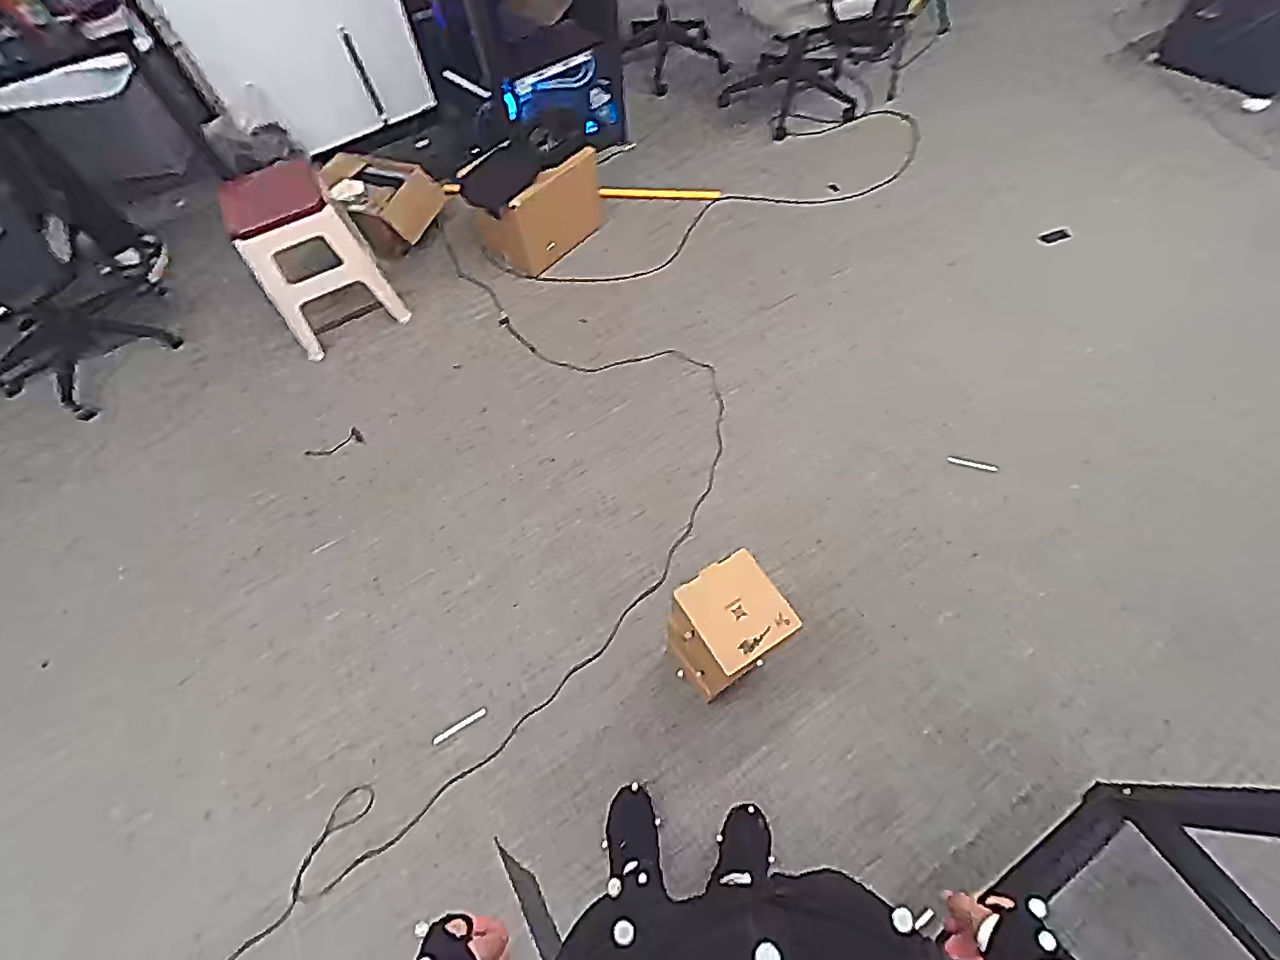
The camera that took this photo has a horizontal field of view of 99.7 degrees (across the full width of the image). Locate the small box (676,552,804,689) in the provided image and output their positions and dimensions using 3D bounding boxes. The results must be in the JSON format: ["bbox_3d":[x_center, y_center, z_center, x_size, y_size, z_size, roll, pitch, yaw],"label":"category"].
[{"bbox_3d":[0.180,0.273,1.035,0.168,0.176,0.179,-29,63,-12],"label":"small box"}]

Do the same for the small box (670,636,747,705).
[{"bbox_3d":[0.188,0.424,1.324,0.179,0.176,0.168,-33,64,-13],"label":"small box"}]

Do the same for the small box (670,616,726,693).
[{"bbox_3d":[0.183,0.341,1.185,0.179,0.176,0.168,-36,66,-17],"label":"small box"}]
